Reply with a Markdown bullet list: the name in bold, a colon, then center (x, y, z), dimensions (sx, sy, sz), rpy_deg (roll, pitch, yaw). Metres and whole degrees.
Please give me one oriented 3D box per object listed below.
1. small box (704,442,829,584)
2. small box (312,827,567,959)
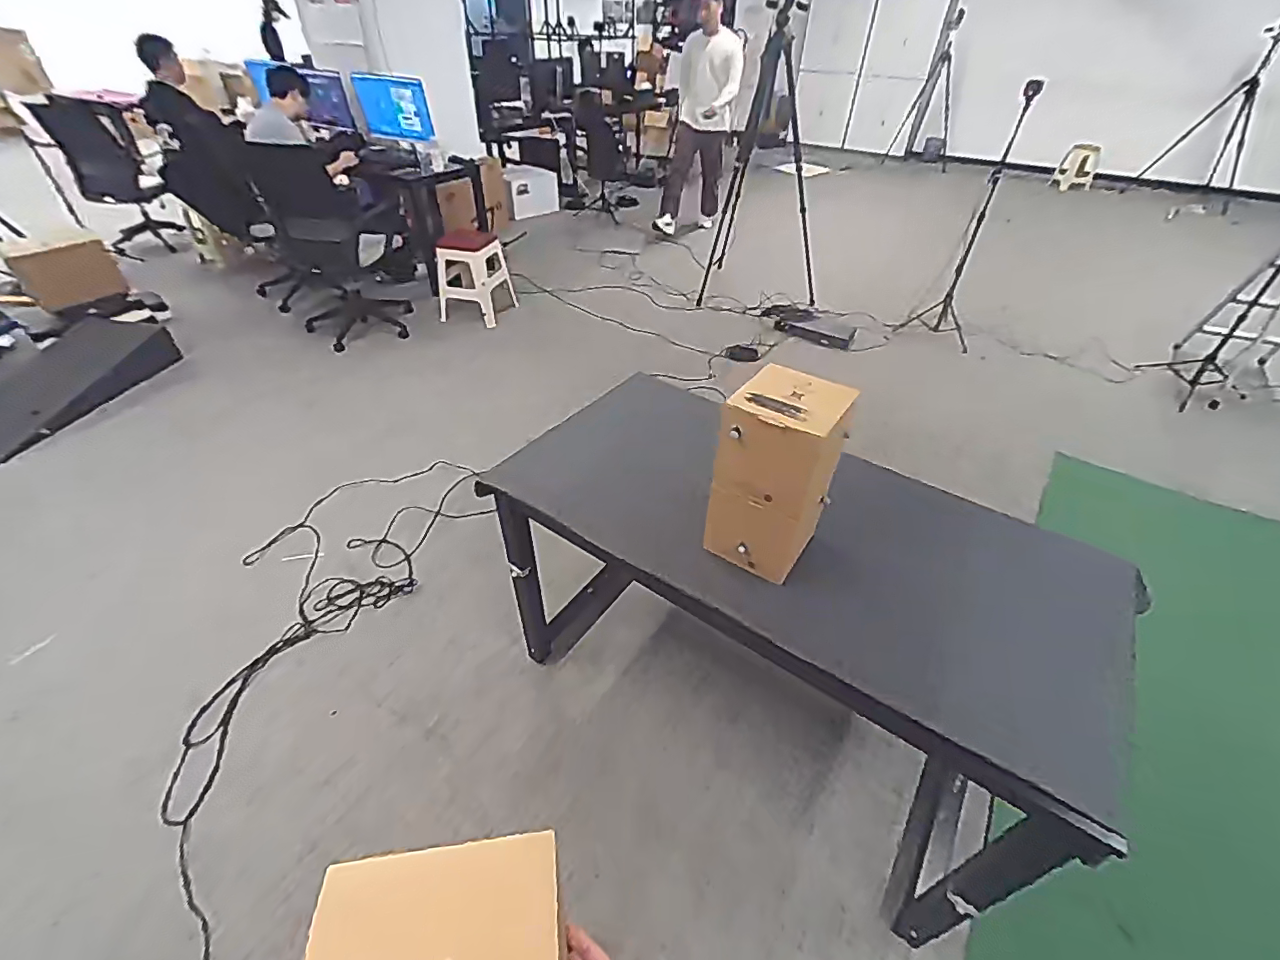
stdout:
- **small box**: center (0.235, 0.061, 1.031), dimensions (0.168, 0.176, 0.179), rpy_deg (25, 45, 25)
- **small box**: center (-0.134, 0.390, 0.384), dimensions (0.168, 0.176, 0.179), rpy_deg (-3, 33, -10)
